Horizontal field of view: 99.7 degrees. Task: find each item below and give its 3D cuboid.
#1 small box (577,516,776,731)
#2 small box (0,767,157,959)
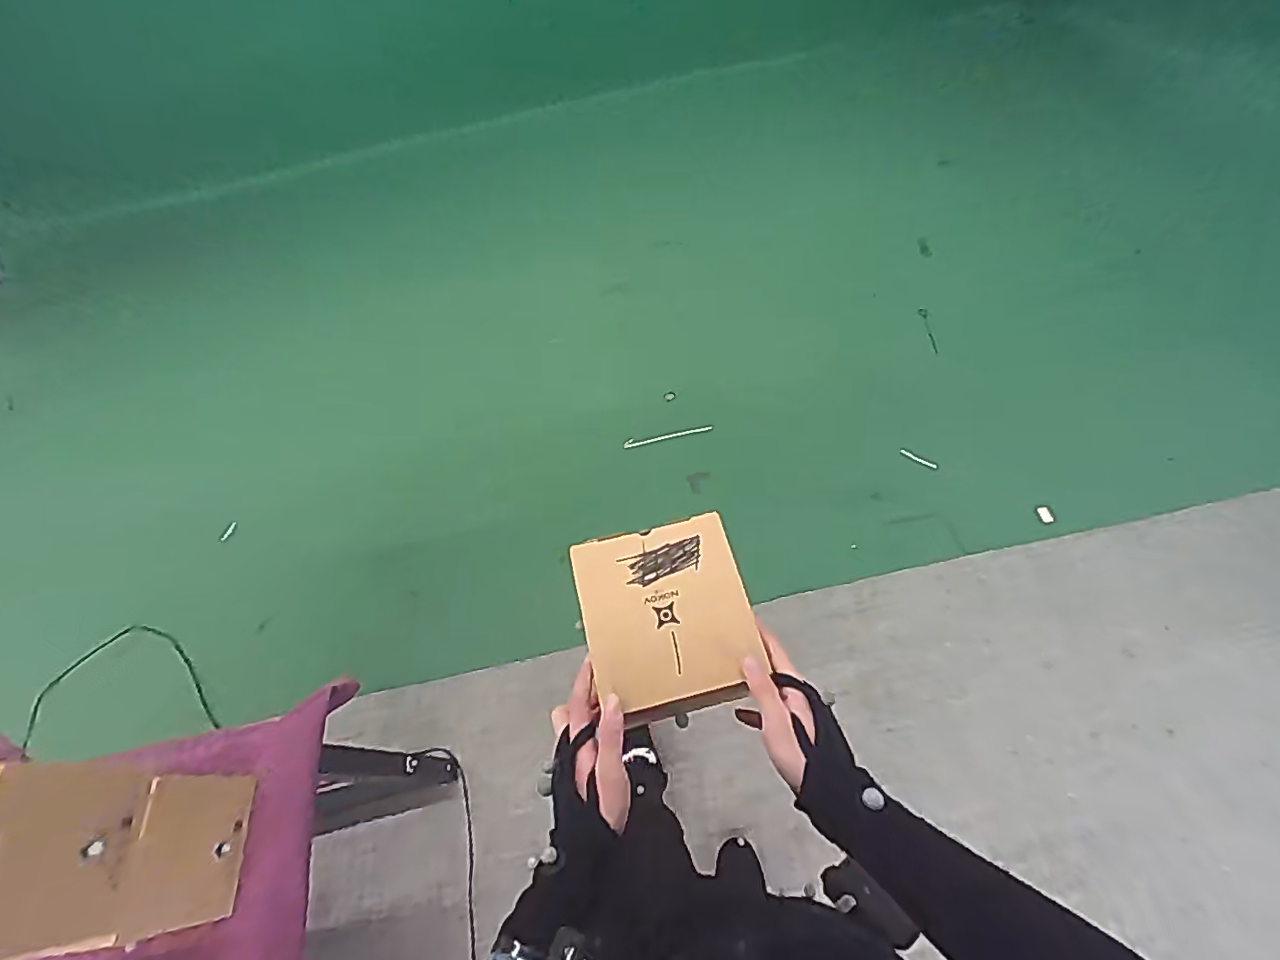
[{"bbox_3d":[0.032,0.166,0.604,0.168,0.176,0.179,-13,62,-3],"label":"small box"},{"bbox_3d":[-0.676,0.408,0.562,0.179,0.176,0.168,-13,60,2],"label":"small box"}]
